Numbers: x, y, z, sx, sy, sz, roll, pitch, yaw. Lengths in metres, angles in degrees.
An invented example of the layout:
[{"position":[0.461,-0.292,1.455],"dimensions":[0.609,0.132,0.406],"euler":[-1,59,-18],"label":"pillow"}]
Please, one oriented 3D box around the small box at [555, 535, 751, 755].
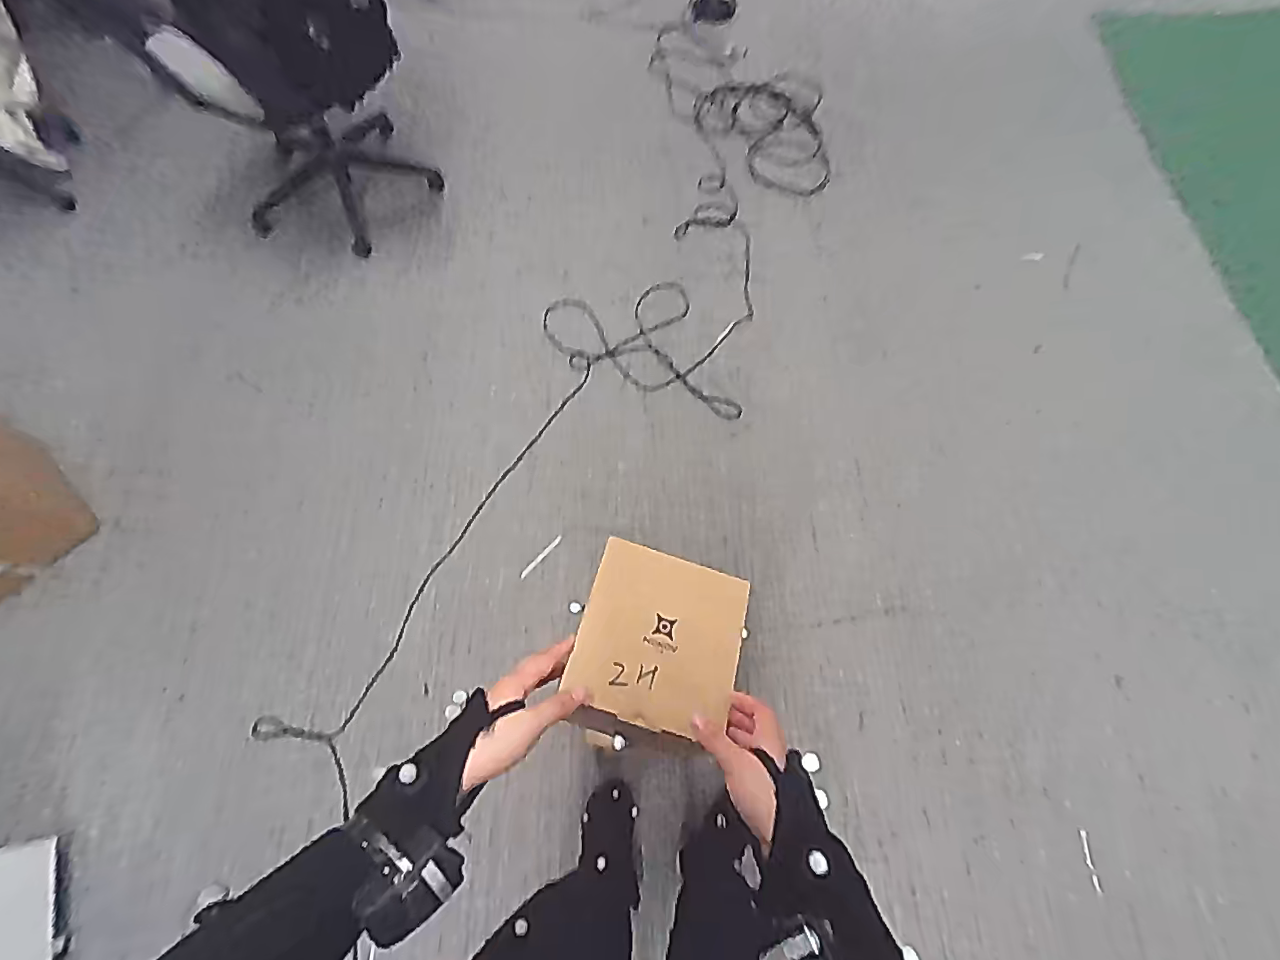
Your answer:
[{"position":[0.007,0.192,0.609],"dimensions":[0.168,0.176,0.179],"euler":[19,61,-1],"label":"small box"}]
